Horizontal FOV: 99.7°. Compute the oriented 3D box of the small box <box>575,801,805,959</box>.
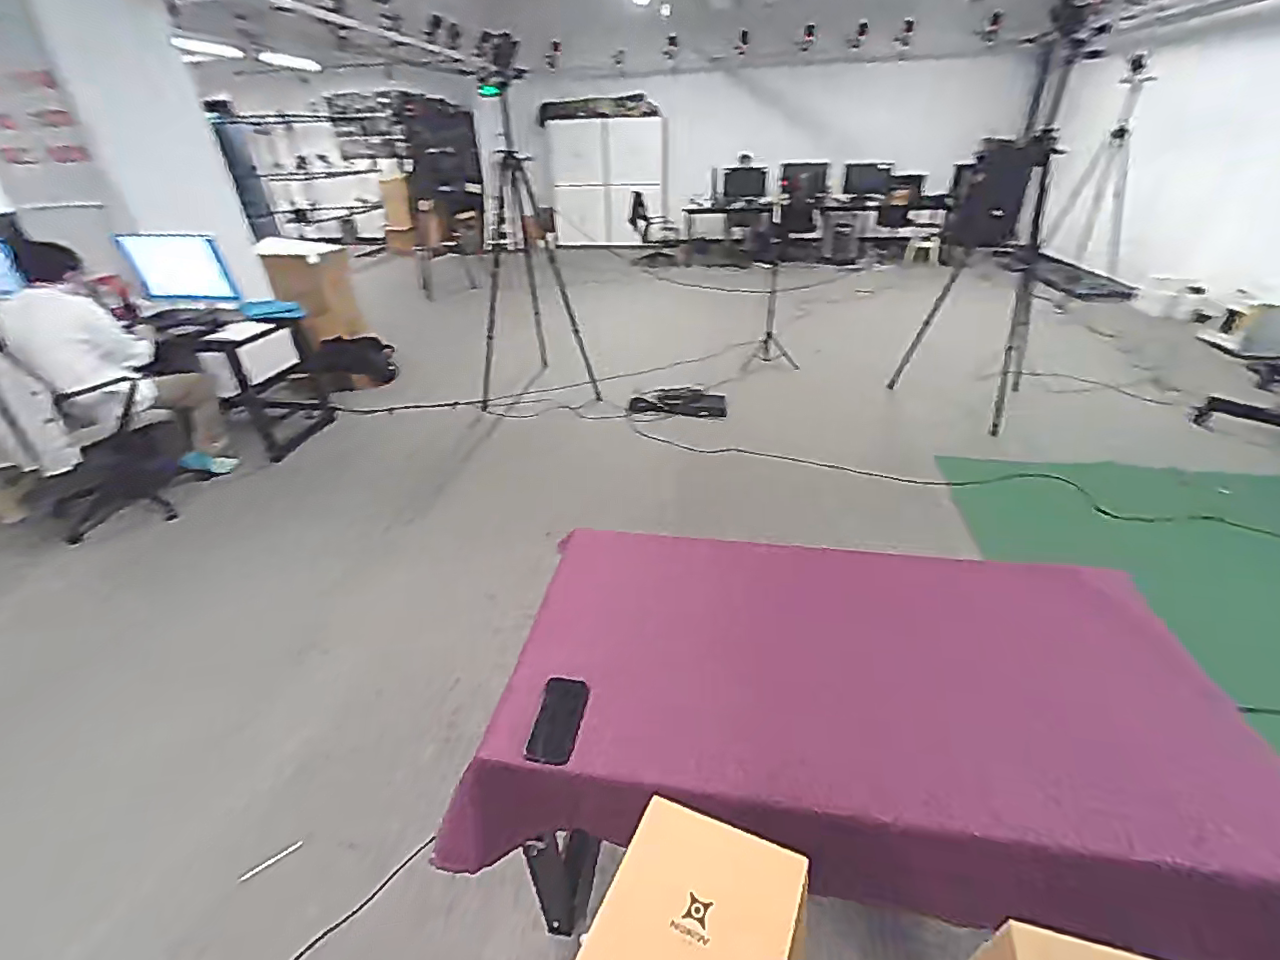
[{"bbox_3d":[0.055,0.467,0.521,0.168,0.176,0.179,8,31,26],"label":"small box"}]
